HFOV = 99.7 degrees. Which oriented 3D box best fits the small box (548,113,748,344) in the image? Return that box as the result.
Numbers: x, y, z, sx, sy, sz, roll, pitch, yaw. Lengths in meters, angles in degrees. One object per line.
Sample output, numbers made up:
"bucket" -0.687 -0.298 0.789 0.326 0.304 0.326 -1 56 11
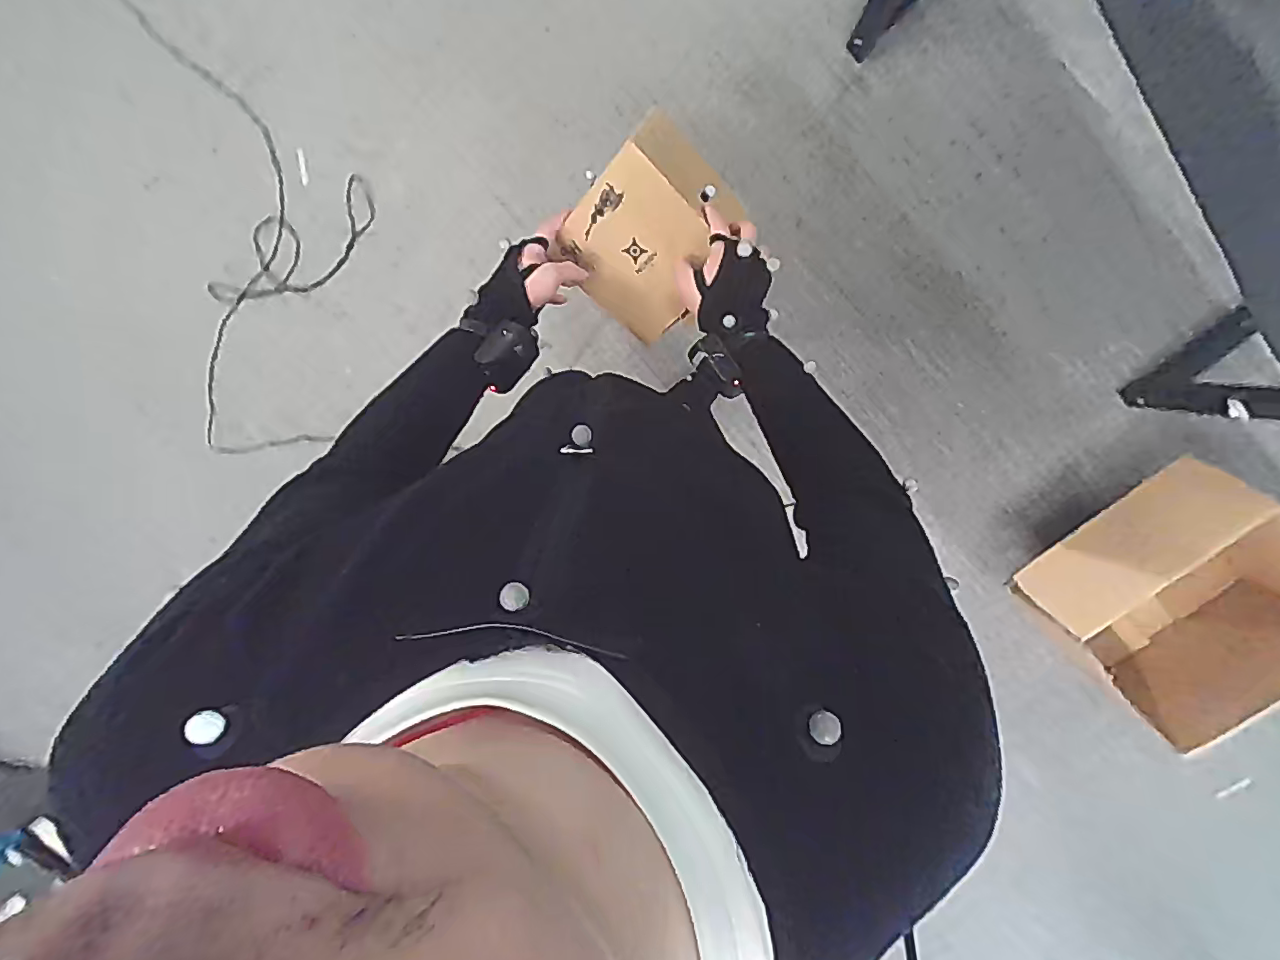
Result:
"small box" 0.020 -0.314 0.675 0.179 0.176 0.168 39 130 -23
